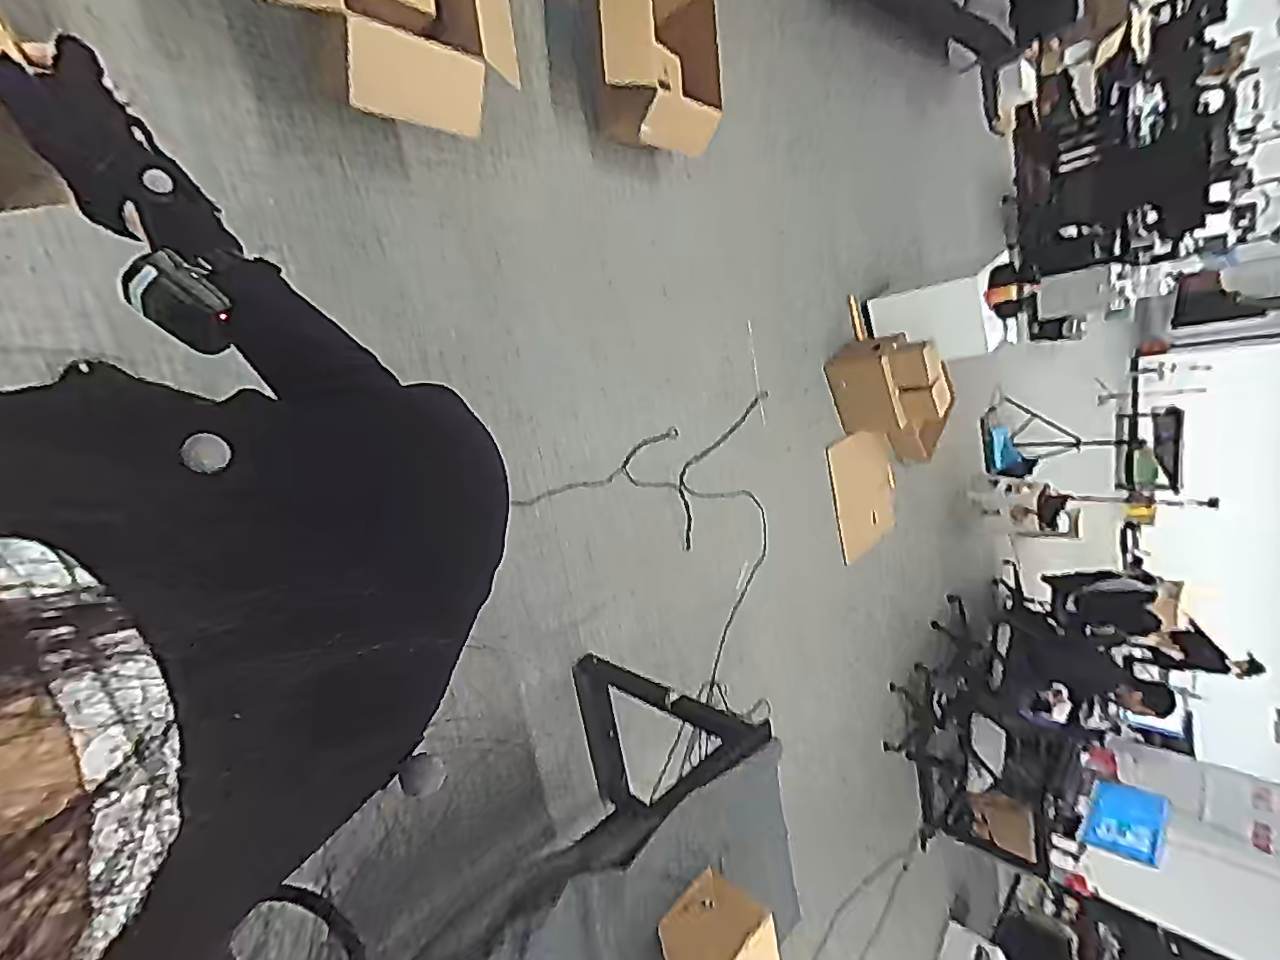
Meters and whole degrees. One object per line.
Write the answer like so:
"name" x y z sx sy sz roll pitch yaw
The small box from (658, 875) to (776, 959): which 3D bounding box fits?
"small box" 0.160 0.972 1.104 0.168 0.176 0.179 -20 104 -39
